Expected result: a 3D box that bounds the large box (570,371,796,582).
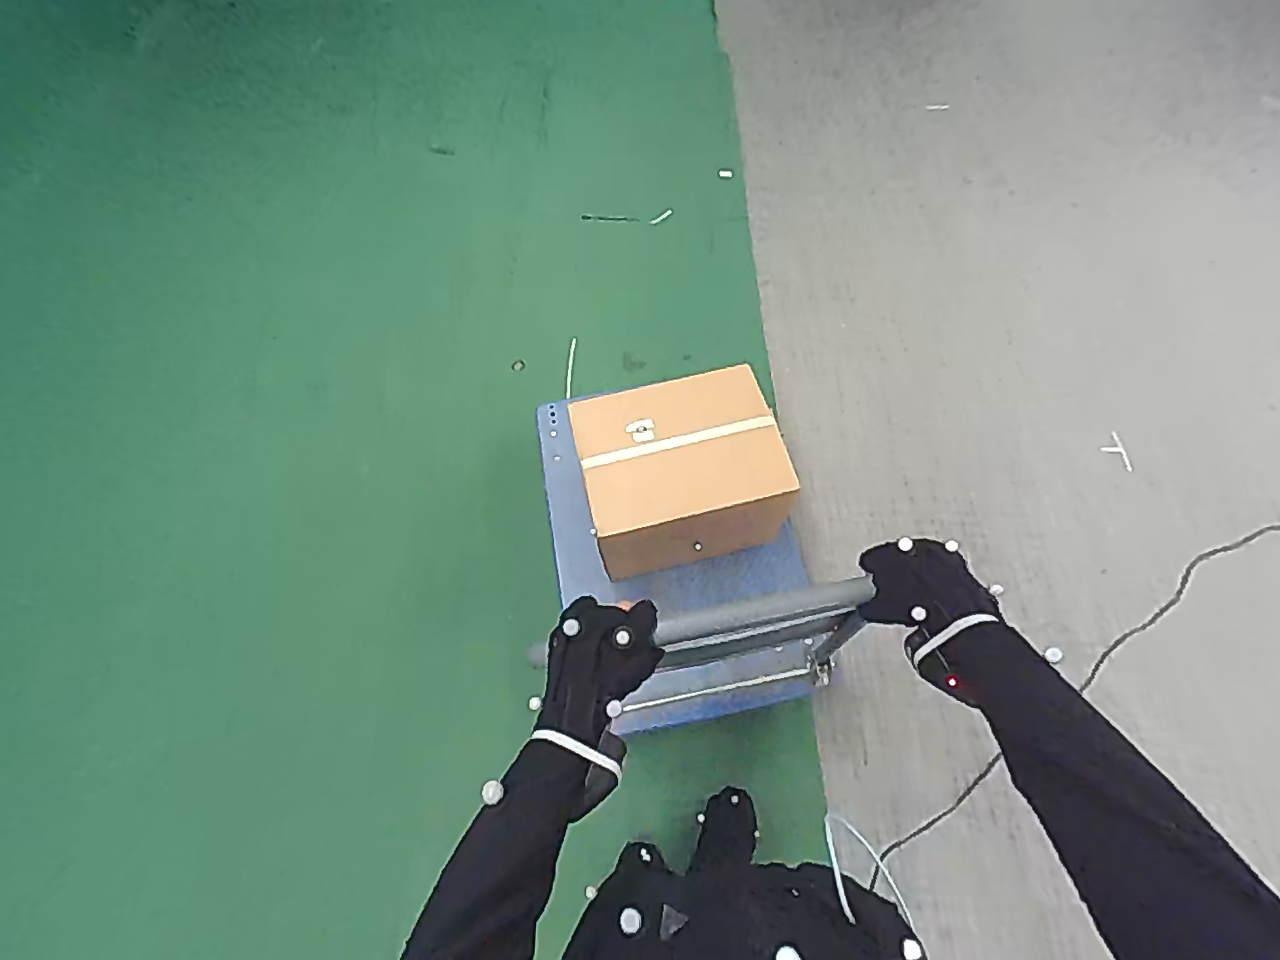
[{"bbox_3d":[0.087,0.006,1.240,0.408,0.320,0.320,-14,63,-4],"label":"large box"}]
